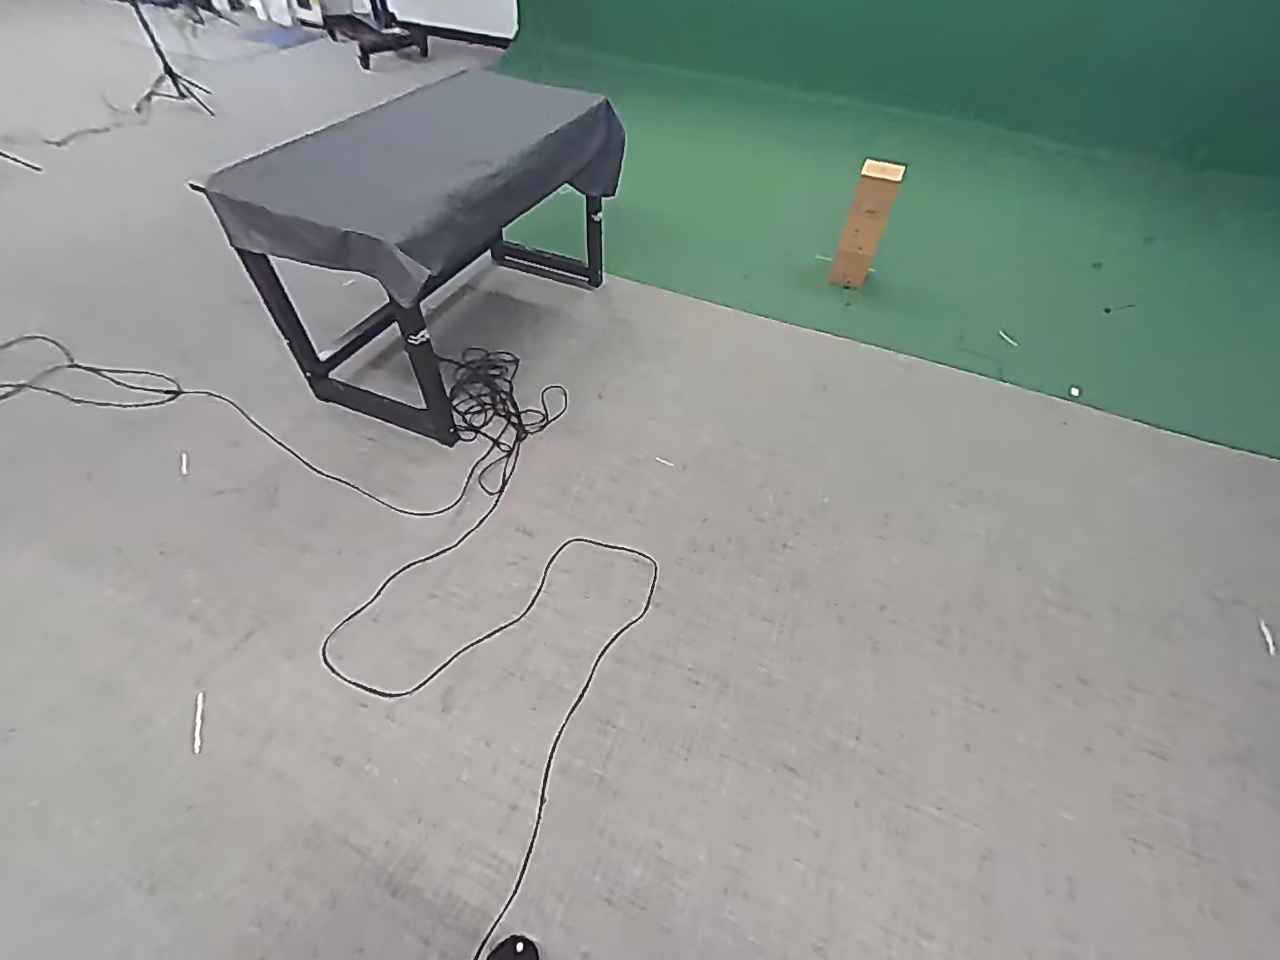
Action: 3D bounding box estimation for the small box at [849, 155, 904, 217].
[{"bbox_3d":[1.013,-1.264,2.324,0.168,0.176,0.179,18,53,14],"label":"small box"}]

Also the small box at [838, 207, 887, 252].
[{"bbox_3d":[1.014,-1.164,2.453,0.168,0.176,0.179,21,52,14],"label":"small box"}]
